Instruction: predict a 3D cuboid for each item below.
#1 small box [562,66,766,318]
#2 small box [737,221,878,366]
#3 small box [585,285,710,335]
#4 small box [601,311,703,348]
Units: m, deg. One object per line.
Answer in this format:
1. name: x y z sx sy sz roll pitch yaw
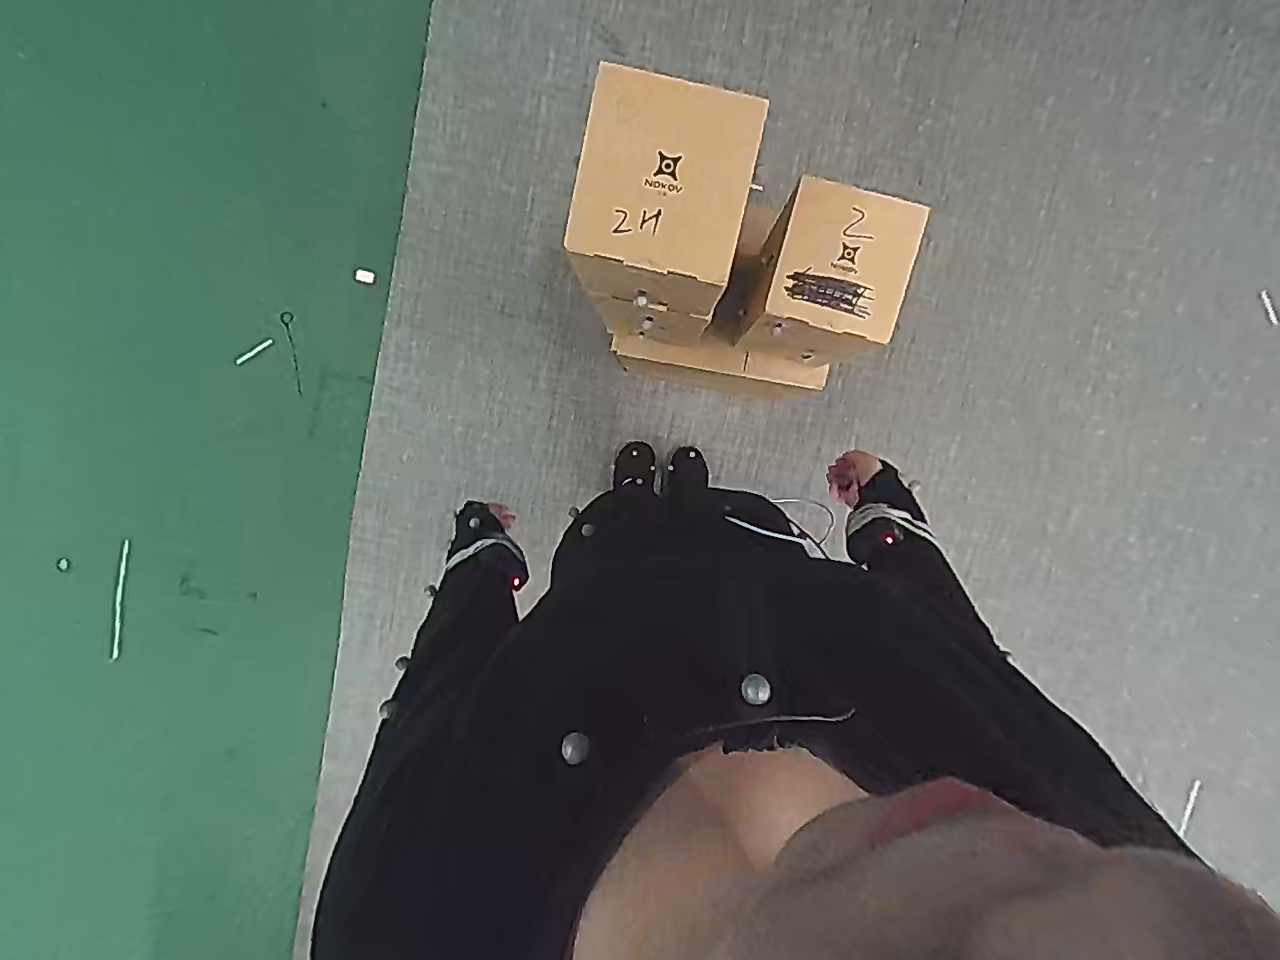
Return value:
1. small box: 0.022 -0.296 0.595 0.168 0.176 0.179 13 97 0
2. small box: 0.269 -0.302 0.917 0.168 0.176 0.179 15 96 1
3. small box: 0.029 -0.312 0.760 0.168 0.176 0.179 13 98 -1
4. small box: 0.035 -0.336 0.922 0.168 0.176 0.179 12 98 0
